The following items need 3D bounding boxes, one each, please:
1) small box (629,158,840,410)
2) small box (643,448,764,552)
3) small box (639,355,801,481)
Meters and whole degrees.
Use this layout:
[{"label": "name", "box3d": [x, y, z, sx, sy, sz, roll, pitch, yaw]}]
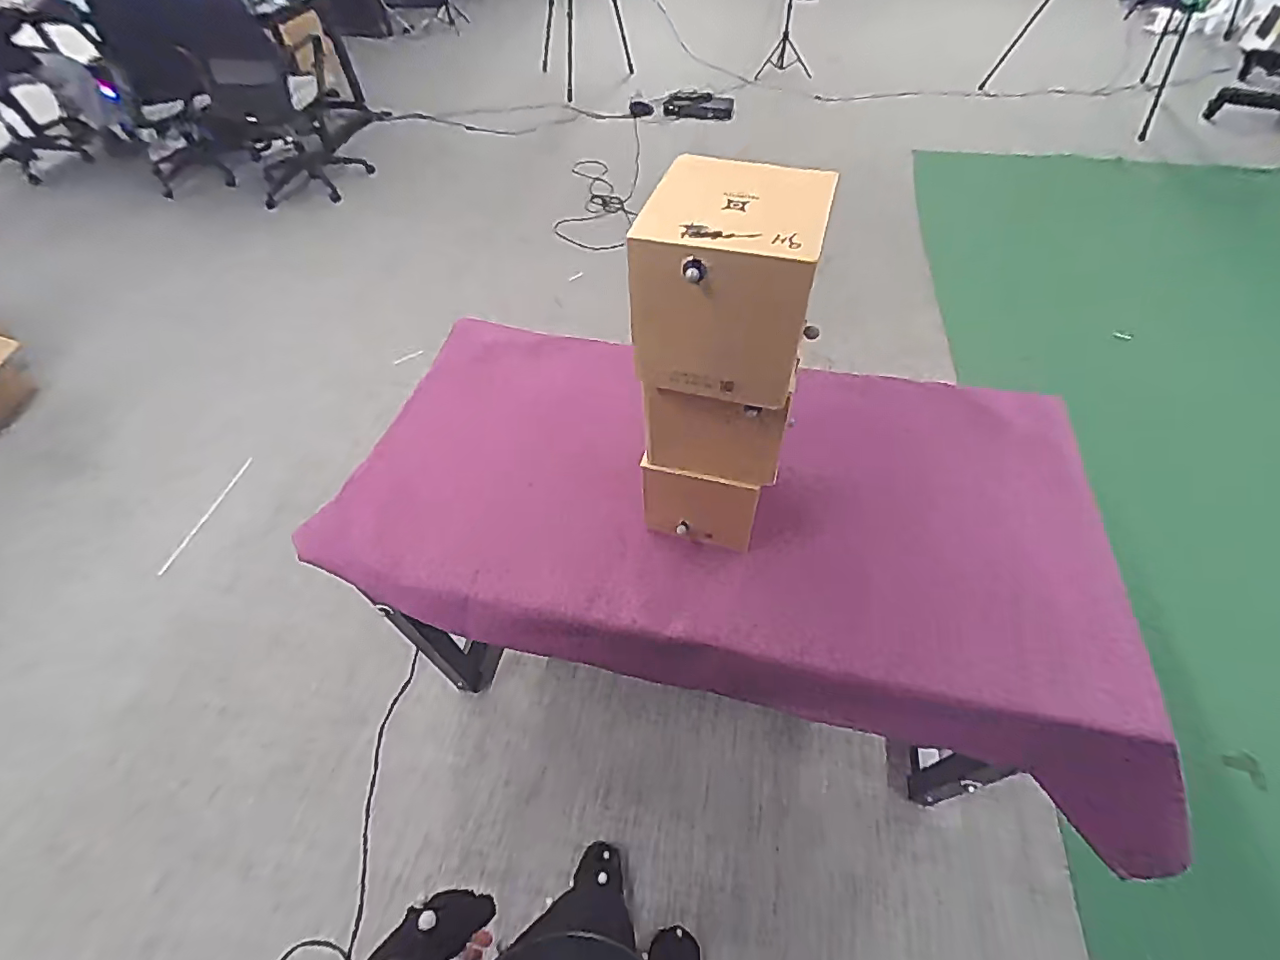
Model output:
[{"label": "small box", "box3d": [0.095, -0.201, 0.557, 0.168, 0.176, 0.179, 13, 53, 13]}, {"label": "small box", "box3d": [0.107, -0.018, 0.827, 0.168, 0.176, 0.179, 12, 54, 13]}, {"label": "small box", "box3d": [0.107, -0.118, 0.700, 0.179, 0.176, 0.168, 11, 54, 11]}]
